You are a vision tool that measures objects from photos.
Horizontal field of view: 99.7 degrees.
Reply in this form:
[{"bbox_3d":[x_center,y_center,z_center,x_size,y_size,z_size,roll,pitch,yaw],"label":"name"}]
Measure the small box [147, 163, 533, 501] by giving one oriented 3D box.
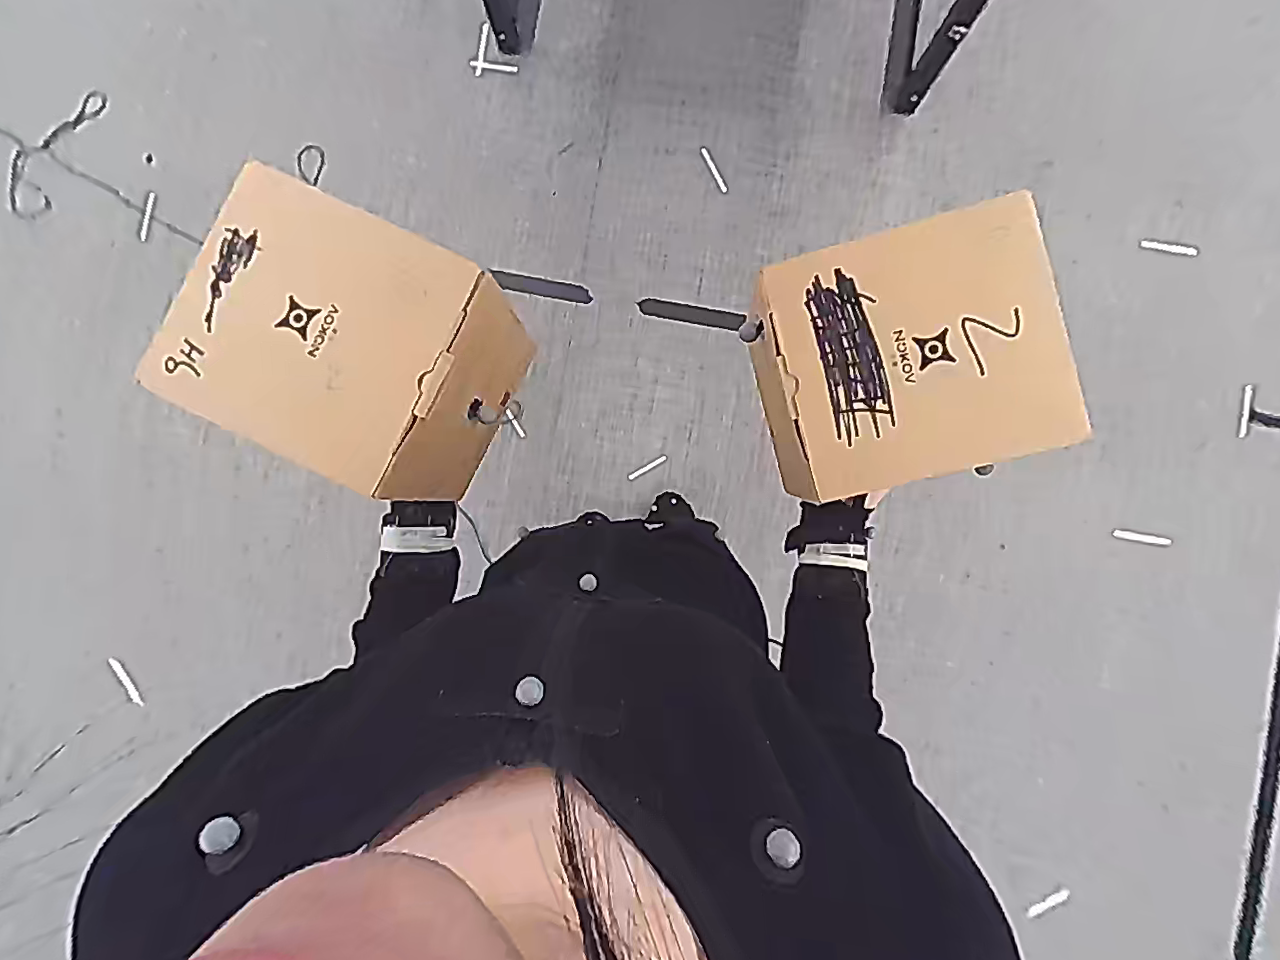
[{"bbox_3d":[-0.203,-0.095,0.427,0.179,0.176,0.168,26,88,1],"label":"small box"}]
